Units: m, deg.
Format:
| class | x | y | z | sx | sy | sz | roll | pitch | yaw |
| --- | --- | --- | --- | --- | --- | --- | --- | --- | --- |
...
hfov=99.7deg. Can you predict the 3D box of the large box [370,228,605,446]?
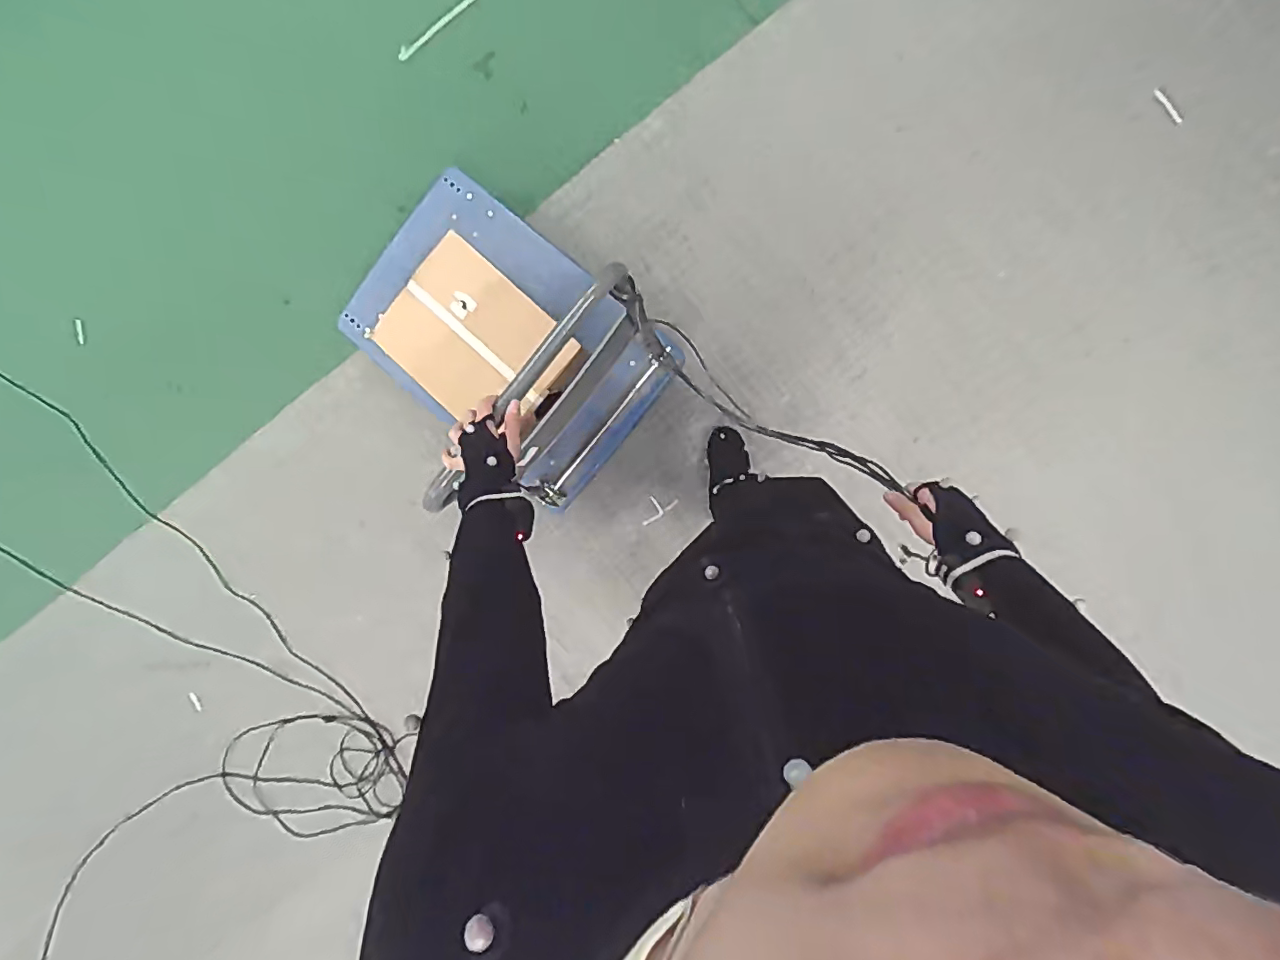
| class | x | y | z | sx | sy | sz | roll | pitch | yaw |
| --- | --- | --- | --- | --- | --- | --- | --- | --- | --- |
| large box | -0.354 | -0.327 | 1.354 | 0.408 | 0.320 | 0.320 | 43 | 97 | 5 |
